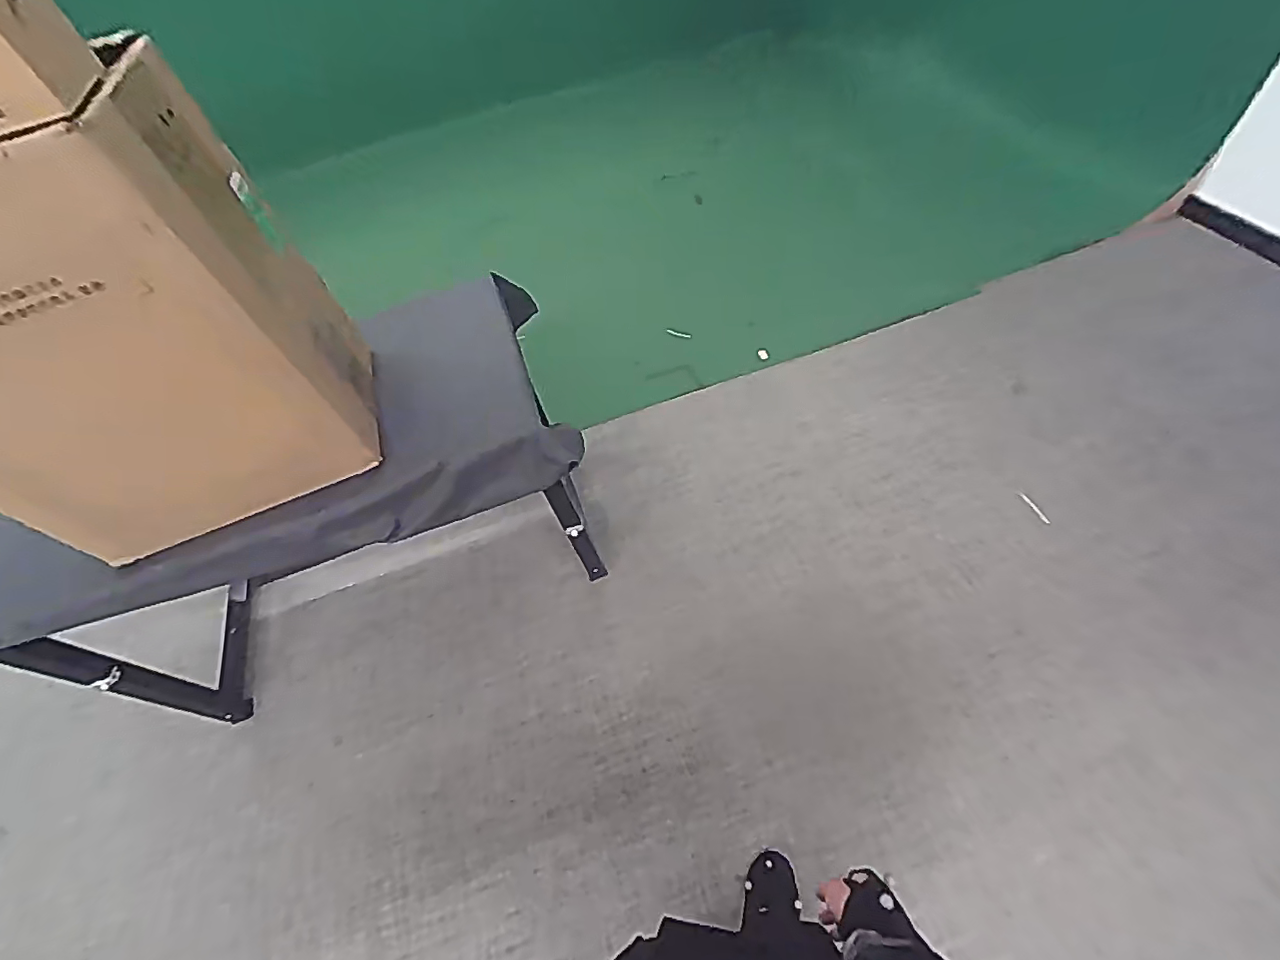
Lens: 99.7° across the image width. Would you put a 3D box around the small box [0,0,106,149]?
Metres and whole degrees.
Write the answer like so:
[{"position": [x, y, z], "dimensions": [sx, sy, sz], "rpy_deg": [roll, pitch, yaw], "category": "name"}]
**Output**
[{"position": [-0.725, -0.464, 0.564], "dimensions": [0.168, 0.176, 0.179], "rpy_deg": [-22, 55, -6], "category": "small box"}]
